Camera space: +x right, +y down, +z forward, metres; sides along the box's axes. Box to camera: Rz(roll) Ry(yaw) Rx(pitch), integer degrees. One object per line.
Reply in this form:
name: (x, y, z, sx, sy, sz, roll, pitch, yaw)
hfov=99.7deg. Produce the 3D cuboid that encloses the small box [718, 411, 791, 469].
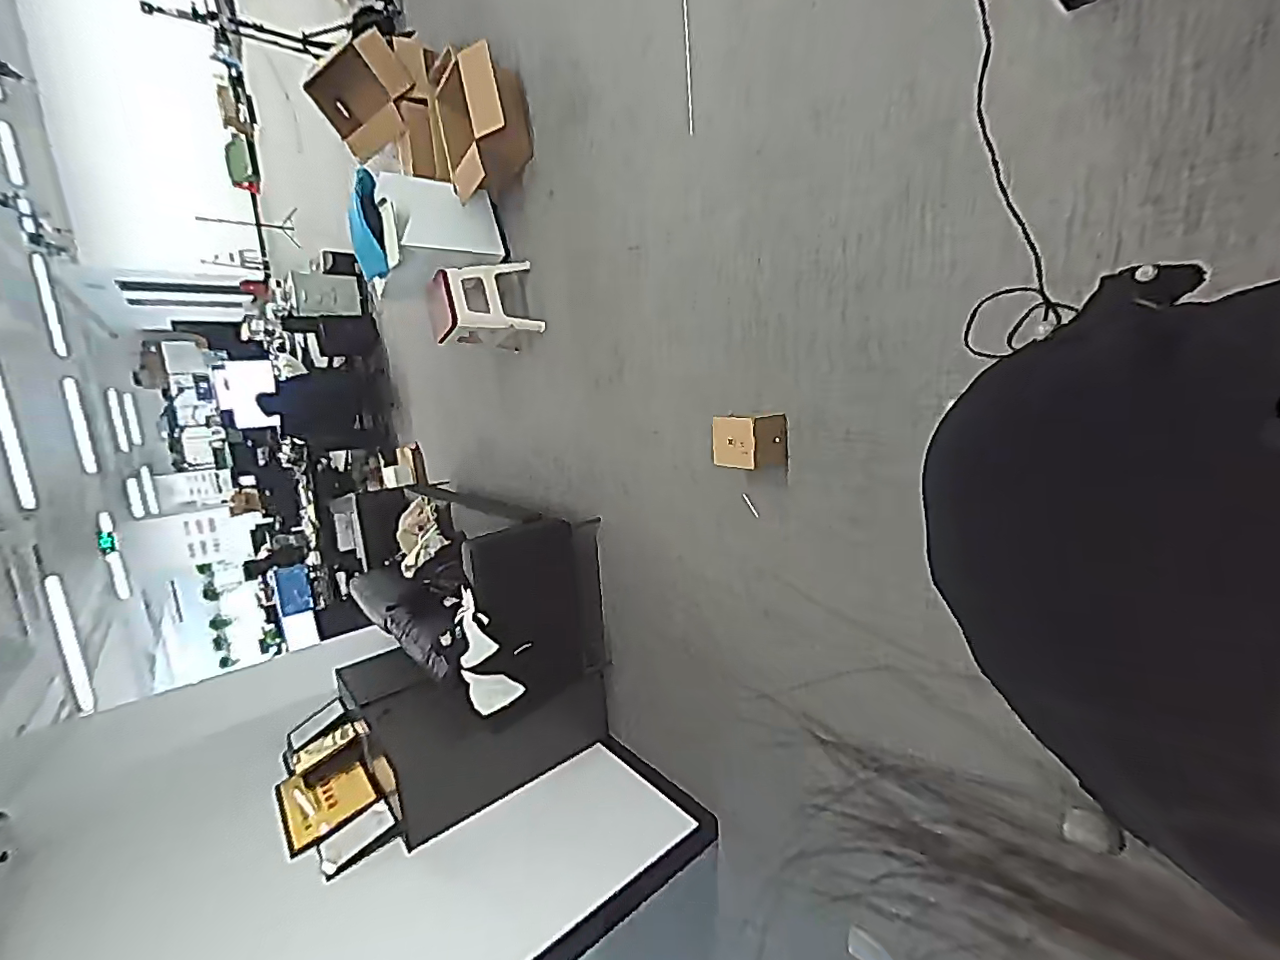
small box: (0.383, -0.139, 1.814, 0.179, 0.176, 0.168, 10, 108, 50)
